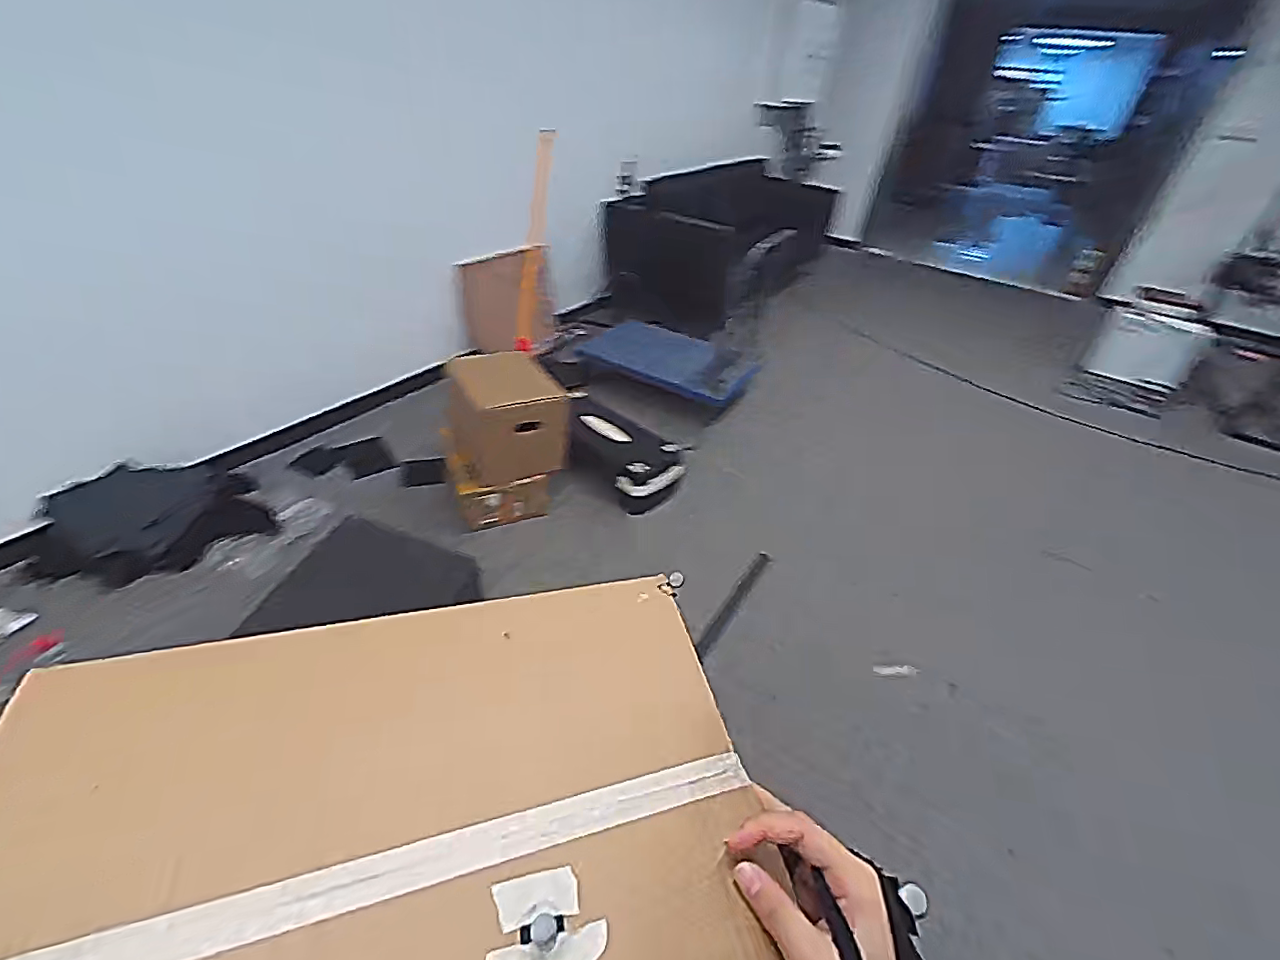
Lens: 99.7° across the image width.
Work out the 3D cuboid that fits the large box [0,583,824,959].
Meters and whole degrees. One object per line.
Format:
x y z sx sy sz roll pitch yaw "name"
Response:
-0.142 0.312 0.392 0.408 0.320 0.320 -3 46 -19 "large box"
